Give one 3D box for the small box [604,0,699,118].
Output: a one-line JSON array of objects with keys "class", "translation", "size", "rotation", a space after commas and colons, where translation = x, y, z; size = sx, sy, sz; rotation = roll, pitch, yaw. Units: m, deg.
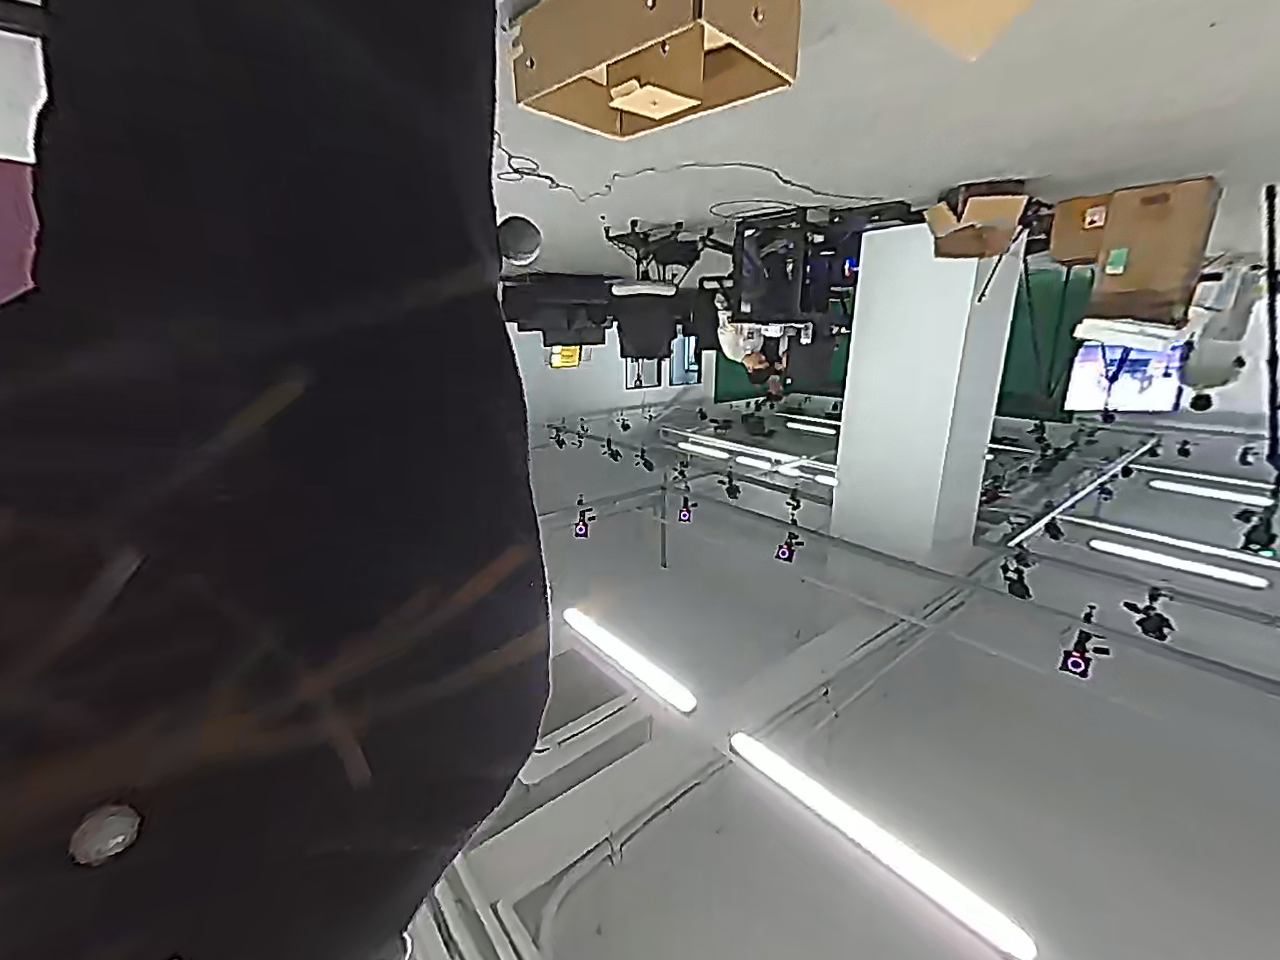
[{"class": "small box", "translation": [0.026, -1.008, 1.301], "size": [0.179, 0.176, 0.168], "rotation": [-14, -157, -39]}]
